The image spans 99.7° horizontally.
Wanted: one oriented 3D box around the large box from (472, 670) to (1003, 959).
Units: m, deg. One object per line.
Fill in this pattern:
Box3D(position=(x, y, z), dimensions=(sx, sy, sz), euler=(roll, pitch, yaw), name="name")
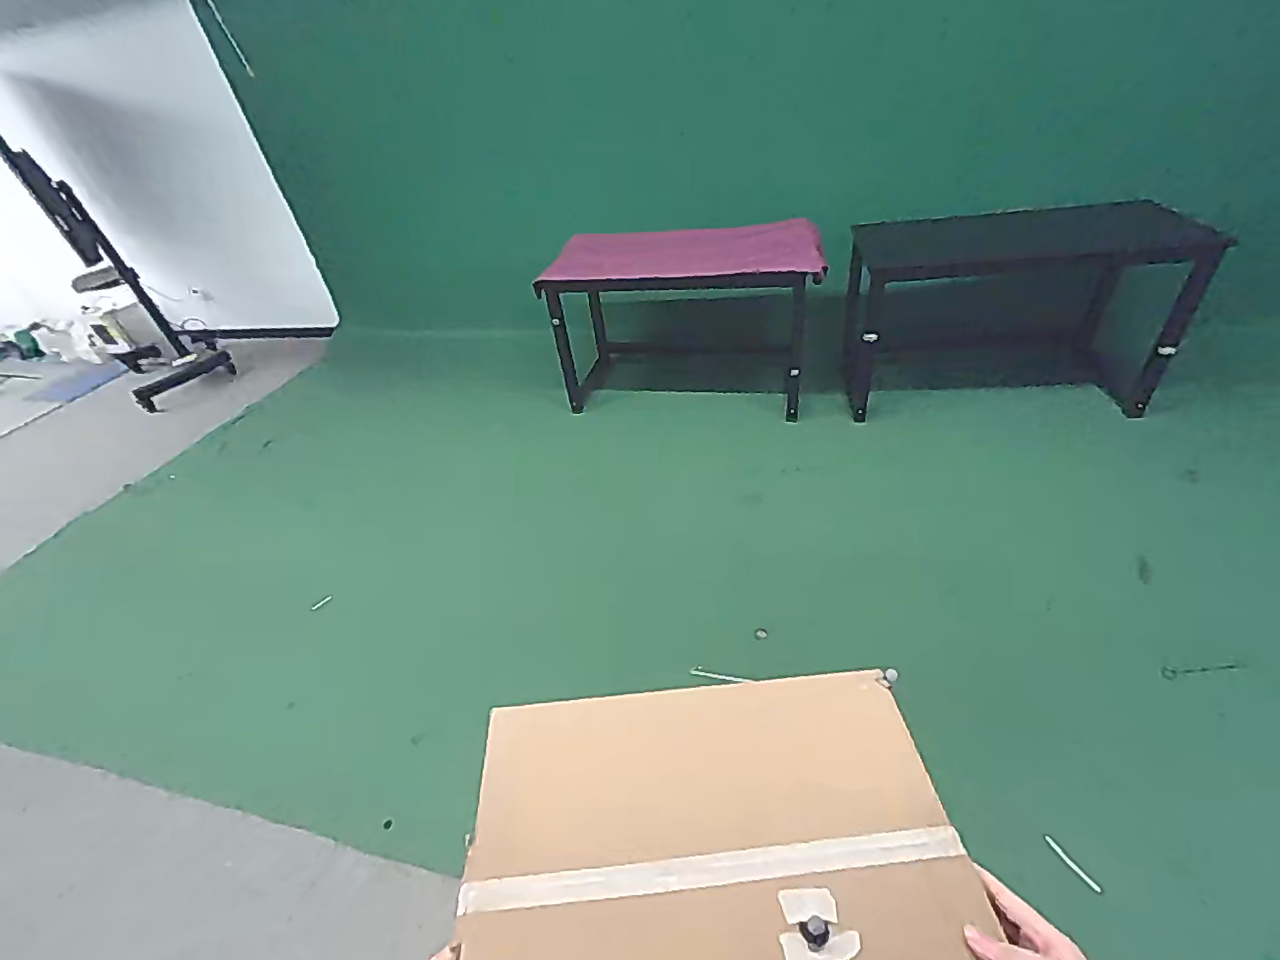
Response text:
Box3D(position=(0.068, 0.431, 0.548), dimensions=(0.408, 0.320, 0.320), euler=(-4, 41, -2), name="large box")
